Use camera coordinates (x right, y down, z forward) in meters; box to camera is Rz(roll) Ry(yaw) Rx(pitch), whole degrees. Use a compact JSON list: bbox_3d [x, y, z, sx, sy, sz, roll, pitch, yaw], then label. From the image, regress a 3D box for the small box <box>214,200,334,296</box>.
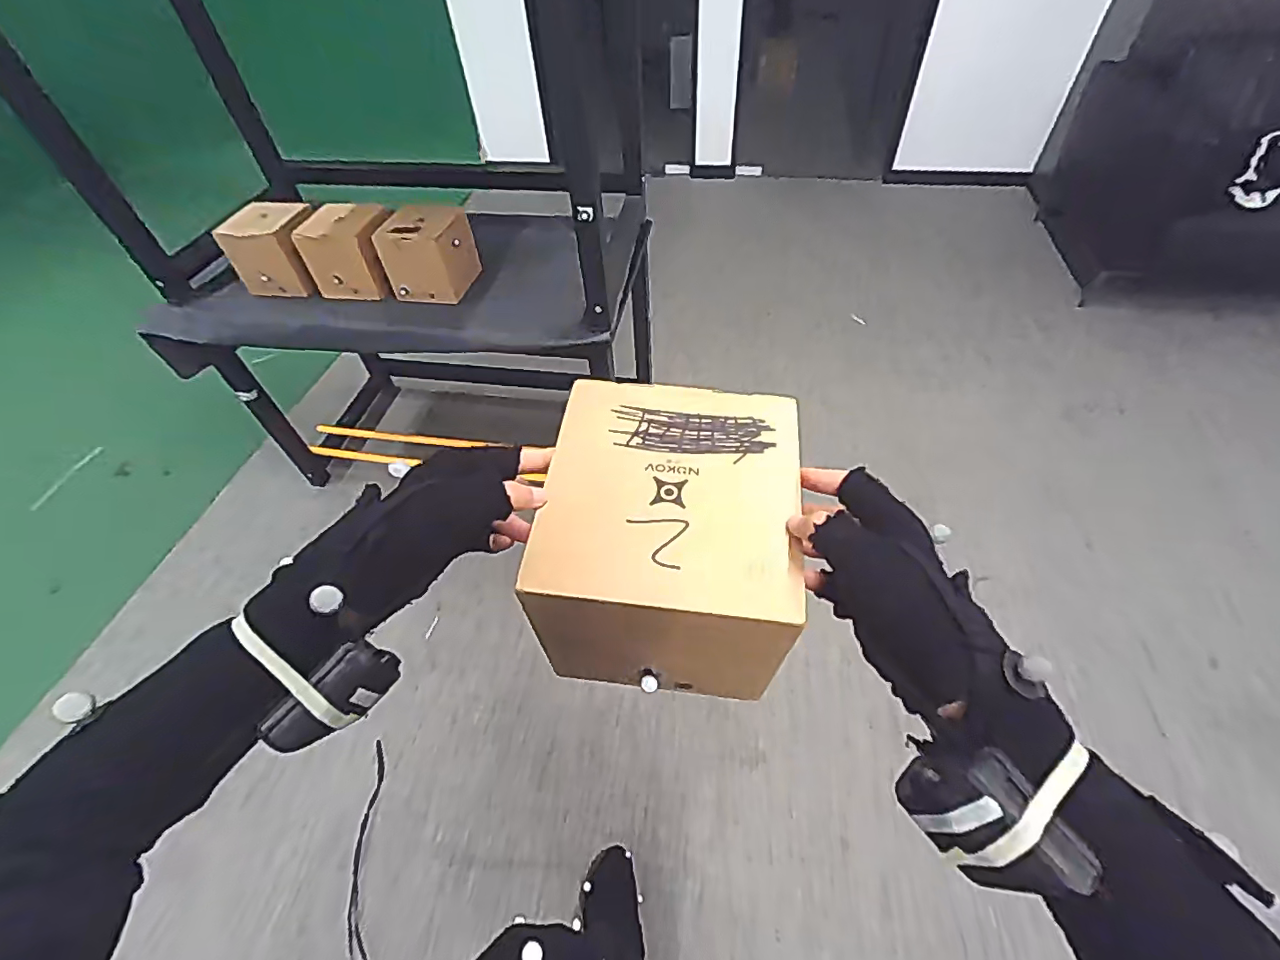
[{"bbox_3d":[-0.937,-0.605,1.409,0.168,0.176,0.179,4,51,7],"label":"small box"}]
